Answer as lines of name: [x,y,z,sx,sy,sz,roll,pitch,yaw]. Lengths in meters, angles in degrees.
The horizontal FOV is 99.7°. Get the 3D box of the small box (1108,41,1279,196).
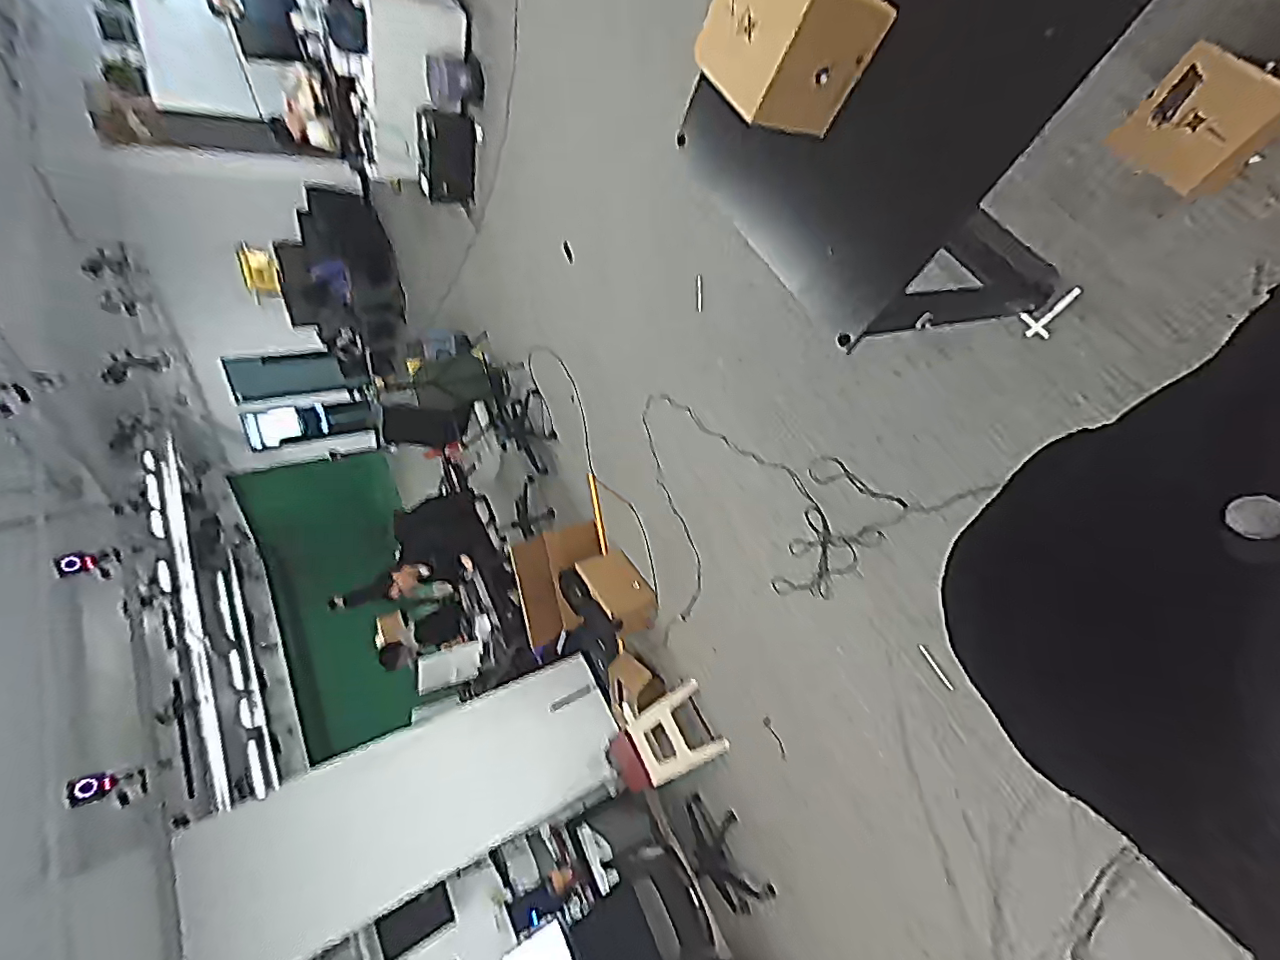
small box: [0.996,-0.622,0.950,0.179,0.176,0.168,59,145,23]

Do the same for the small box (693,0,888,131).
small box: [0.214,-0.637,0.781,0.179,0.176,0.168,62,146,21]
